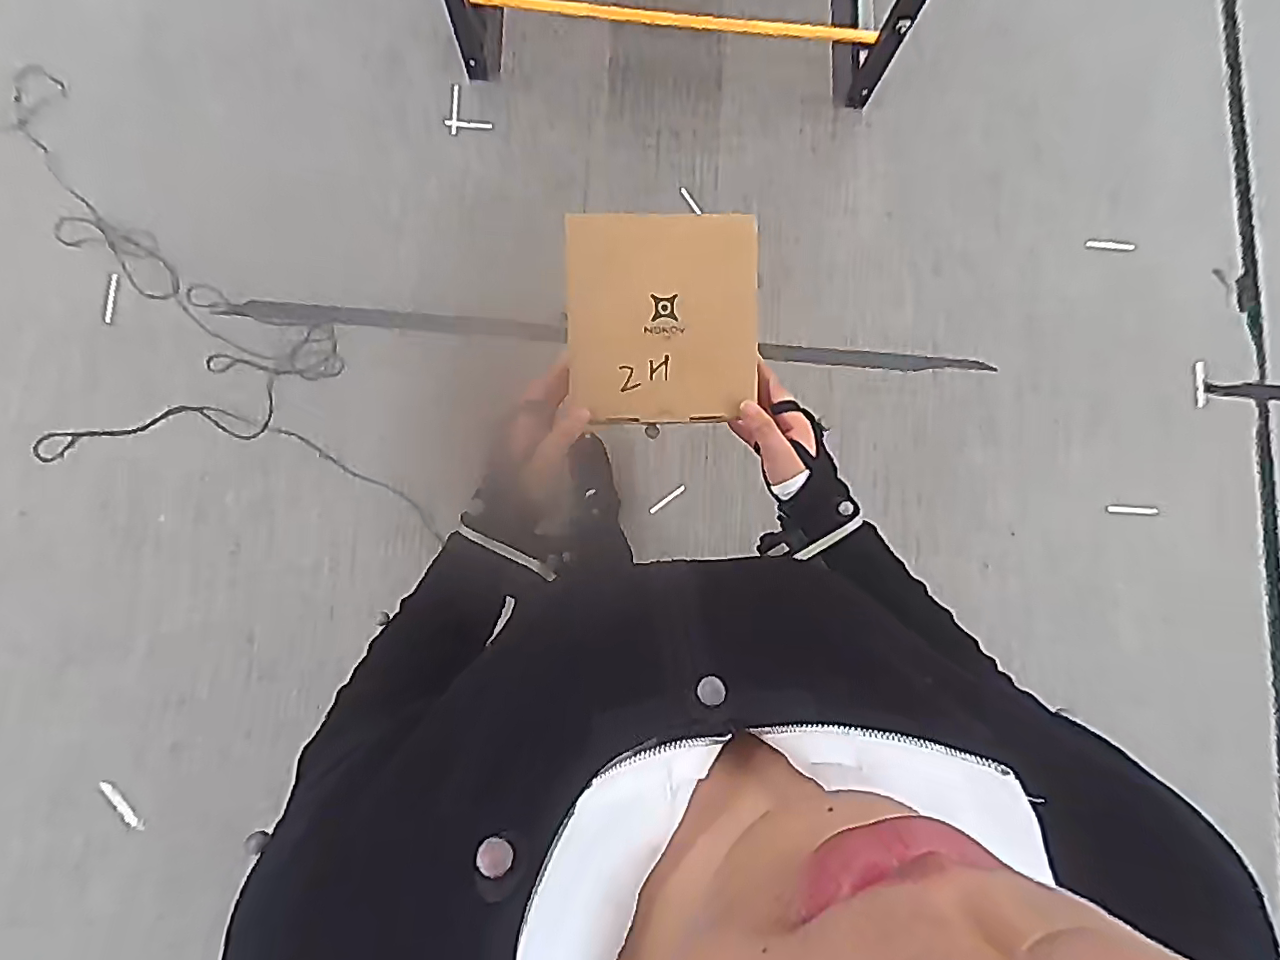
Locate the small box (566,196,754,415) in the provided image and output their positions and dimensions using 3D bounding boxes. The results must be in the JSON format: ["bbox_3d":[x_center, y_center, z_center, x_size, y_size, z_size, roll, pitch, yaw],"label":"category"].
[{"bbox_3d":[0.012,-0.159,0.546,0.168,0.176,0.179,-1,94,-3],"label":"small box"}]
